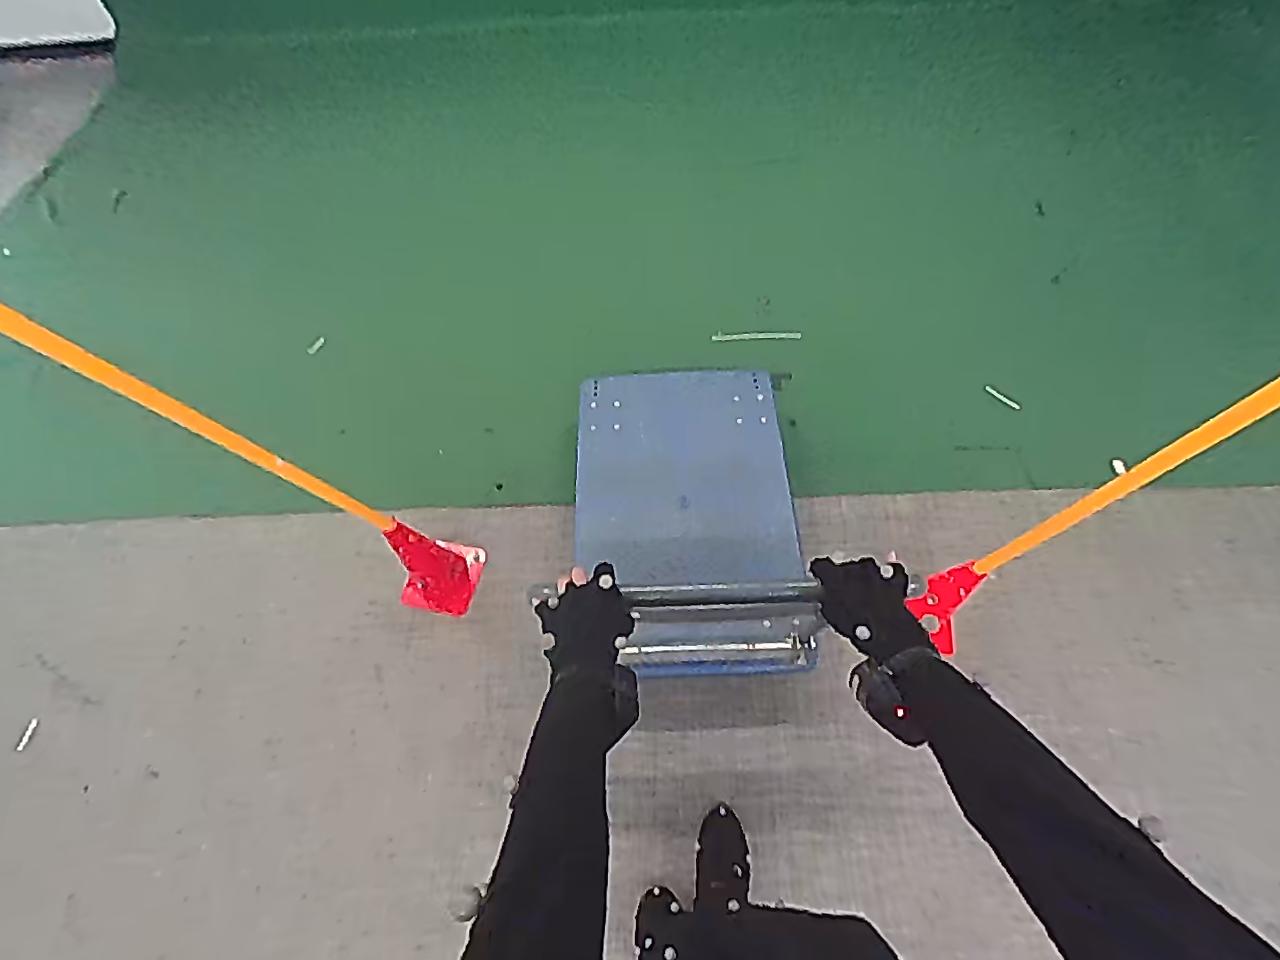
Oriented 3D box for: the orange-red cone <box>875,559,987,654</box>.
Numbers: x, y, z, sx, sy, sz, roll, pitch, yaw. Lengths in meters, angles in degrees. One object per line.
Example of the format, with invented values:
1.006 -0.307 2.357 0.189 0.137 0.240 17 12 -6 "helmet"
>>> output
0.720 0.270 1.286 0.198 0.360 0.199 8 62 8 "orange-red cone"
